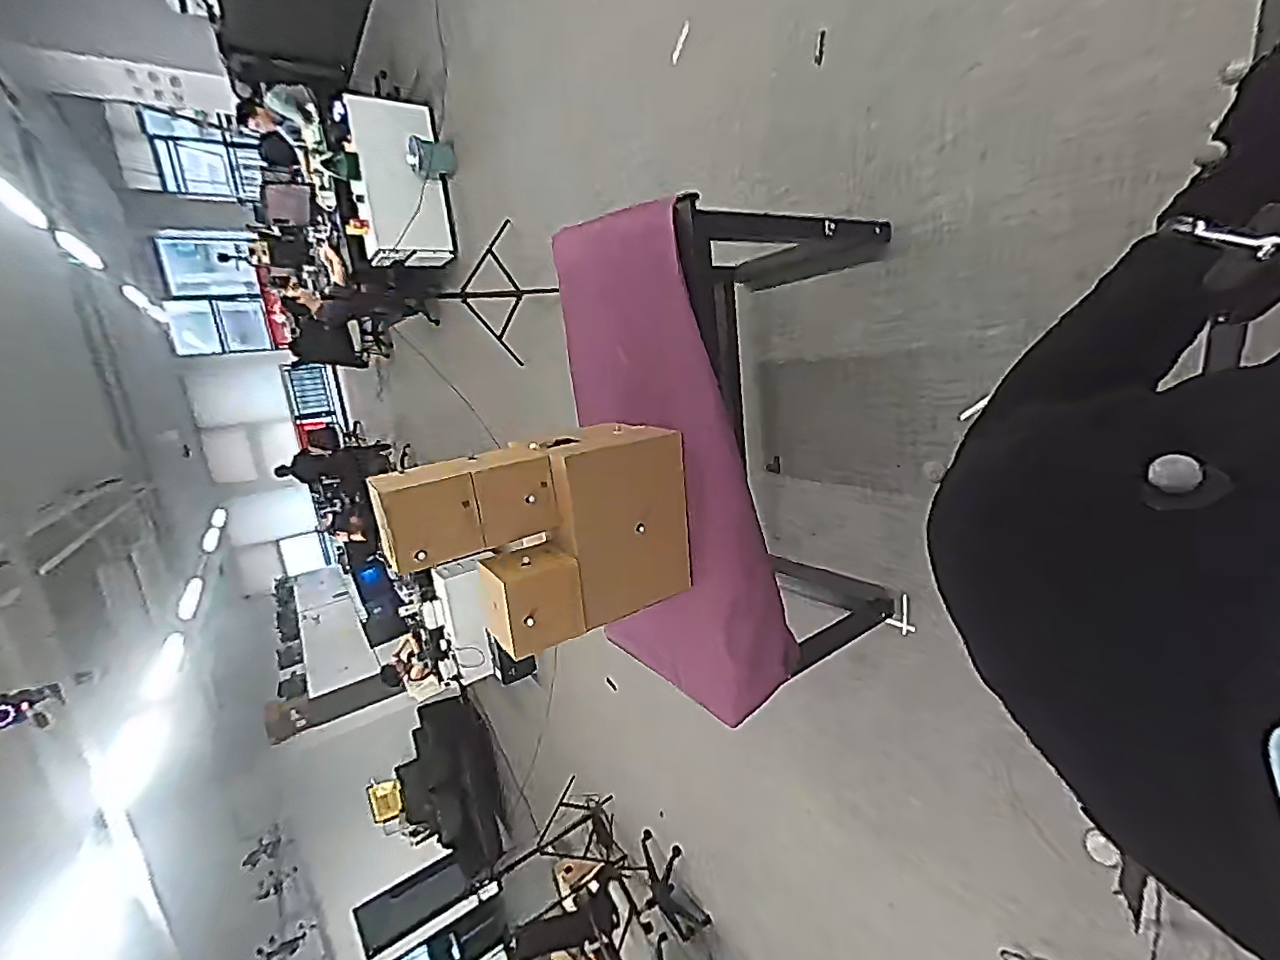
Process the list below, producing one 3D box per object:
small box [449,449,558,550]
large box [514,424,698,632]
[{"bbox_3d":[-0.296,0.032,1.176,0.179,0.176,0.168,15,117,55],"label":"small box"},{"bbox_3d":[-0.083,0.088,1.334,0.320,0.320,0.408,16,117,56],"label":"large box"}]
